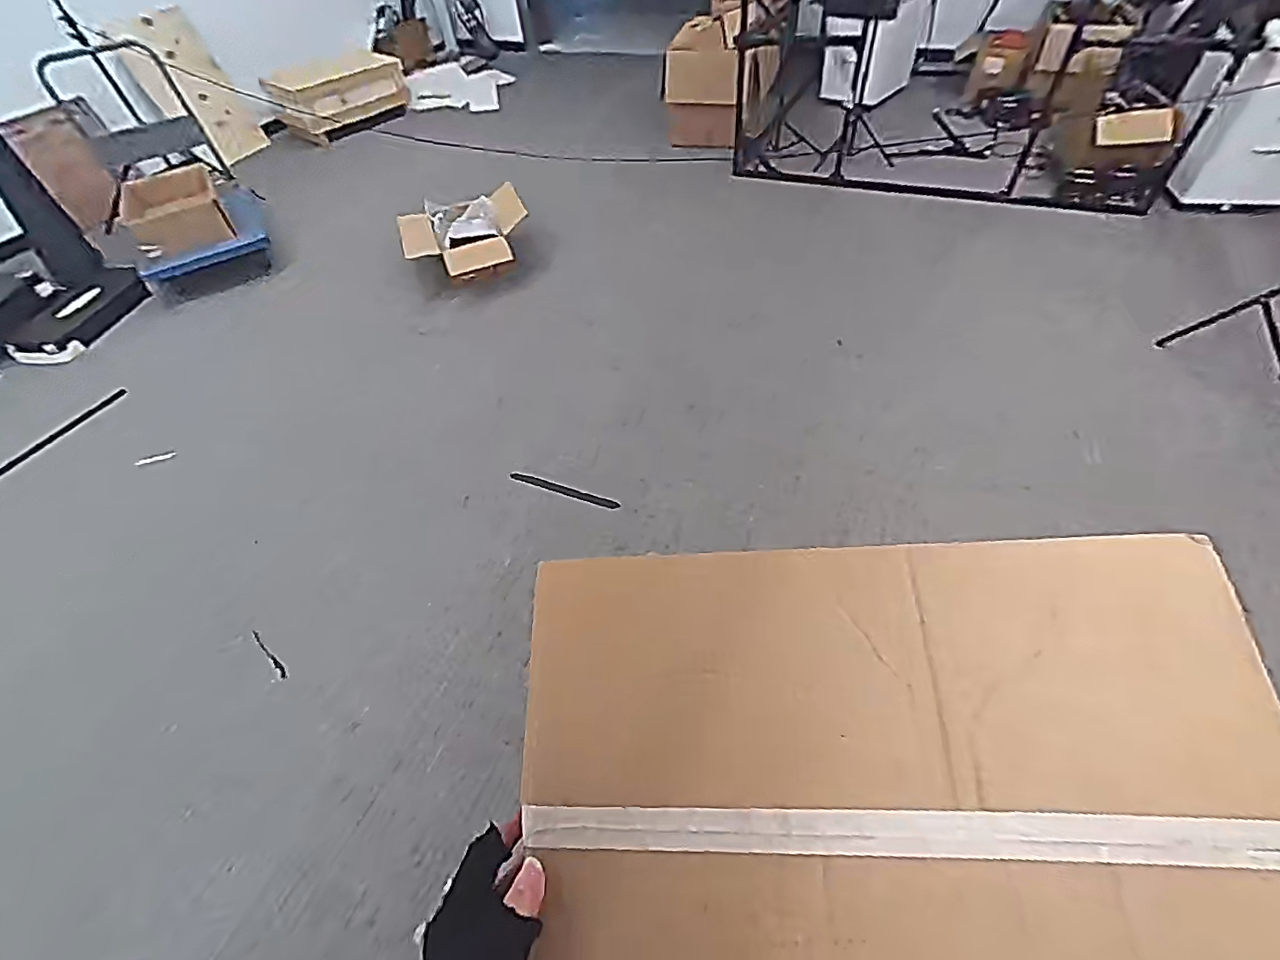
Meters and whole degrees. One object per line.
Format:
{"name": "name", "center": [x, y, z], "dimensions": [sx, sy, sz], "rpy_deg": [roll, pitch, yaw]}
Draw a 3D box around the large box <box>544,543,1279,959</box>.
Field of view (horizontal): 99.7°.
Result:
{"name": "large box", "center": [0.162, 0.250, 0.437], "dimensions": [0.408, 0.320, 0.320], "rpy_deg": [-4, 69, 9]}
